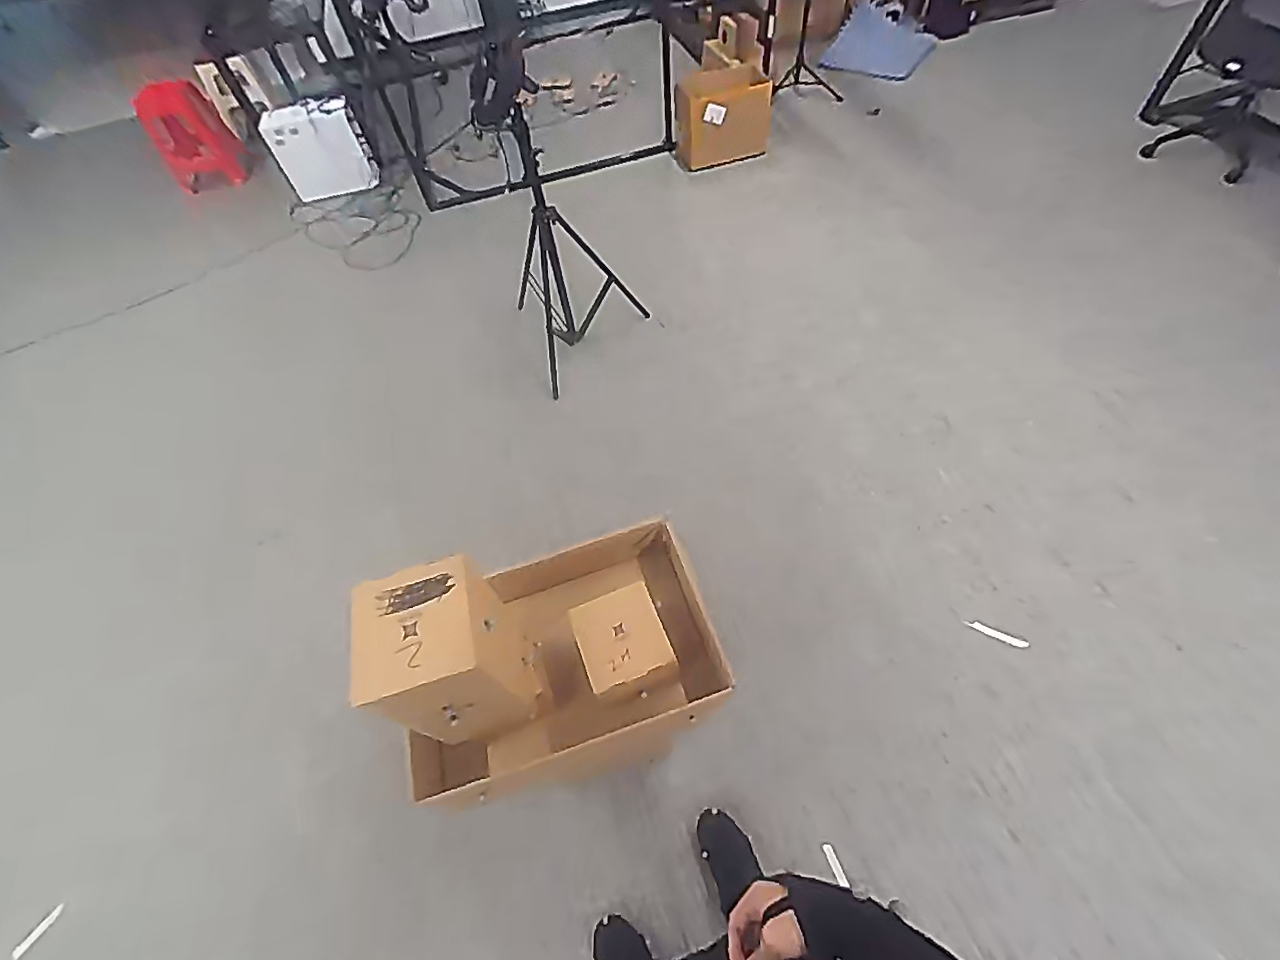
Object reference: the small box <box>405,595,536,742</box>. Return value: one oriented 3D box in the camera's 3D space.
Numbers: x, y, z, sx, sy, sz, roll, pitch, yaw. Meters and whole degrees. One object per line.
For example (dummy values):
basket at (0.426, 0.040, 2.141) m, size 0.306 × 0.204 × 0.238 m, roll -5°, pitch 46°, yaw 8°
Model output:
small box at (-0.293, 0.332, 0.946) m, size 0.168 × 0.176 × 0.179 m, roll -18°, pitch 55°, yaw -5°
